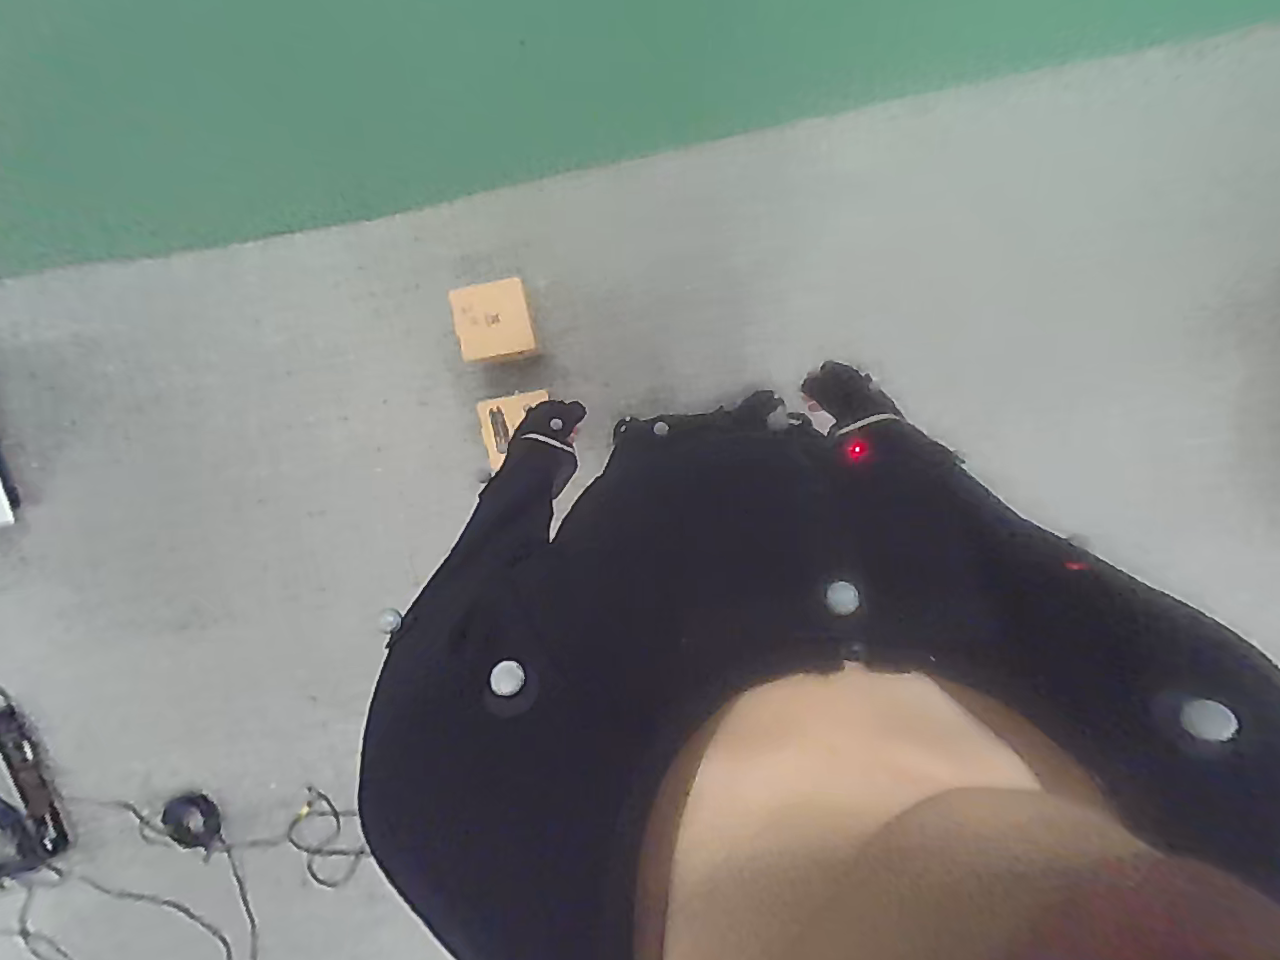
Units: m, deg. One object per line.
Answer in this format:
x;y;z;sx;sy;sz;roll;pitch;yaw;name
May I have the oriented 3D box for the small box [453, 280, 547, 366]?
-0.334;-0.382;1.335;0.179;0.176;0.168;-11;98;2;small box
